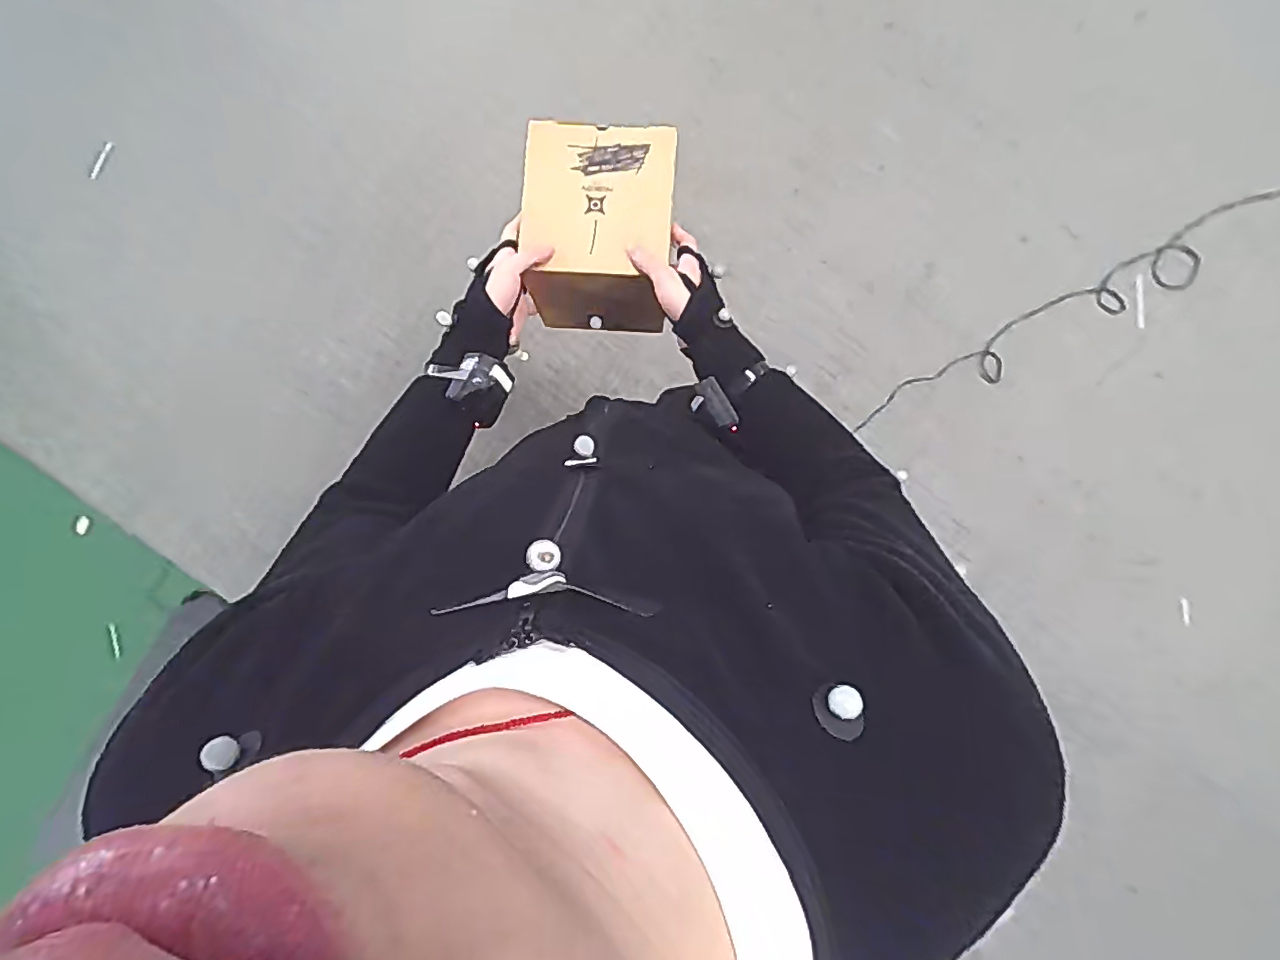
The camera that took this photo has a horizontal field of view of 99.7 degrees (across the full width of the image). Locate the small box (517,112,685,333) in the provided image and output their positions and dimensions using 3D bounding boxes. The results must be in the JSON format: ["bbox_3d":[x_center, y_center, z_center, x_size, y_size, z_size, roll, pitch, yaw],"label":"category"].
[{"bbox_3d":[-0.041,-0.301,0.663,0.168,0.176,0.179,7,84,1],"label":"small box"}]
